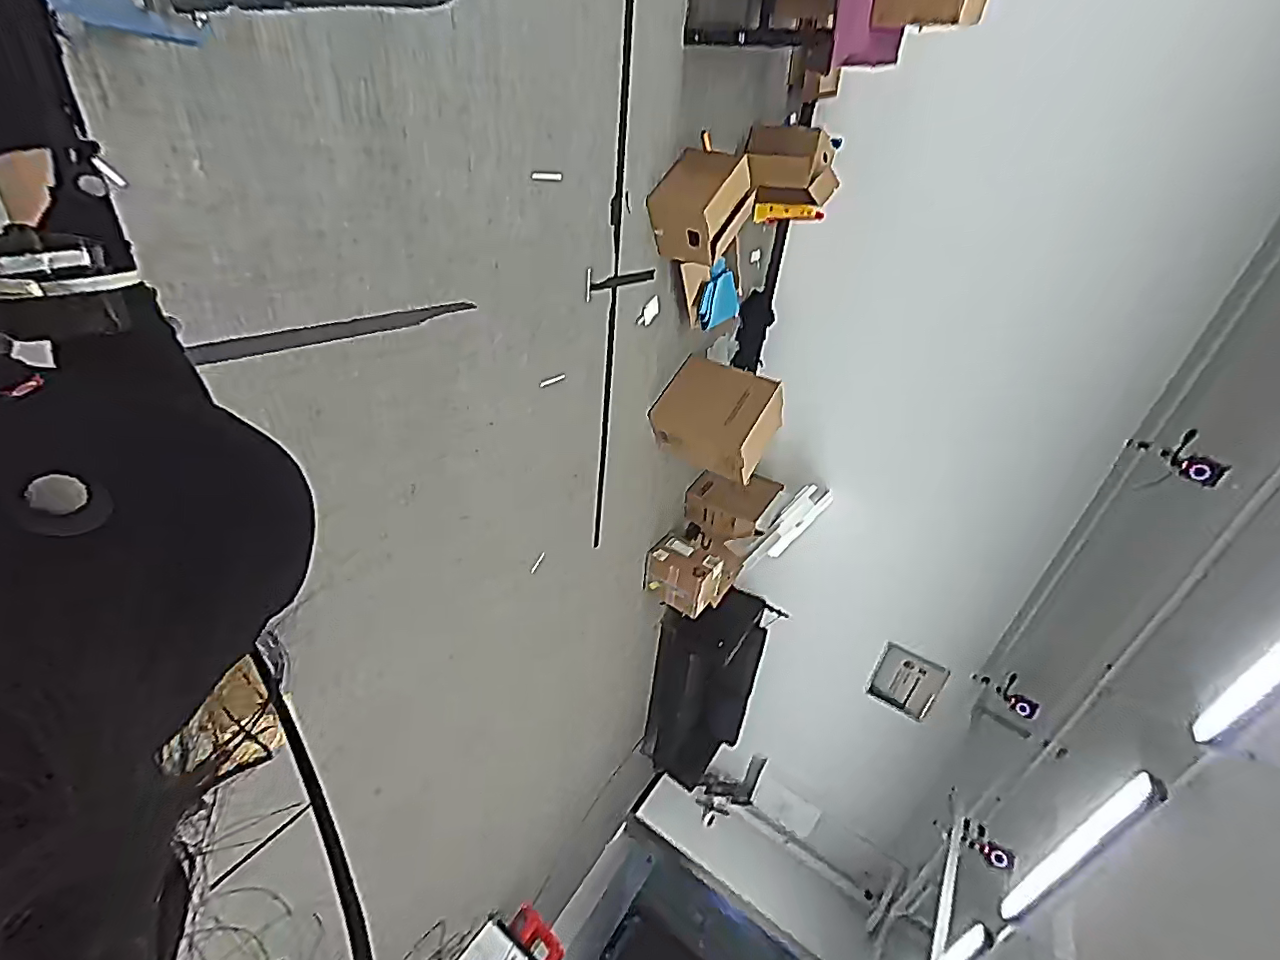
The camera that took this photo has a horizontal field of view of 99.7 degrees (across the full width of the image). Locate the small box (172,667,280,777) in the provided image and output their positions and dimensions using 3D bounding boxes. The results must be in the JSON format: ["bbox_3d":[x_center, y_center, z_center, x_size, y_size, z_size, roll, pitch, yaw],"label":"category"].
[{"bbox_3d":[-1.116,0.646,1.463,0.168,0.176,0.179,-32,140,-50],"label":"small box"}]
